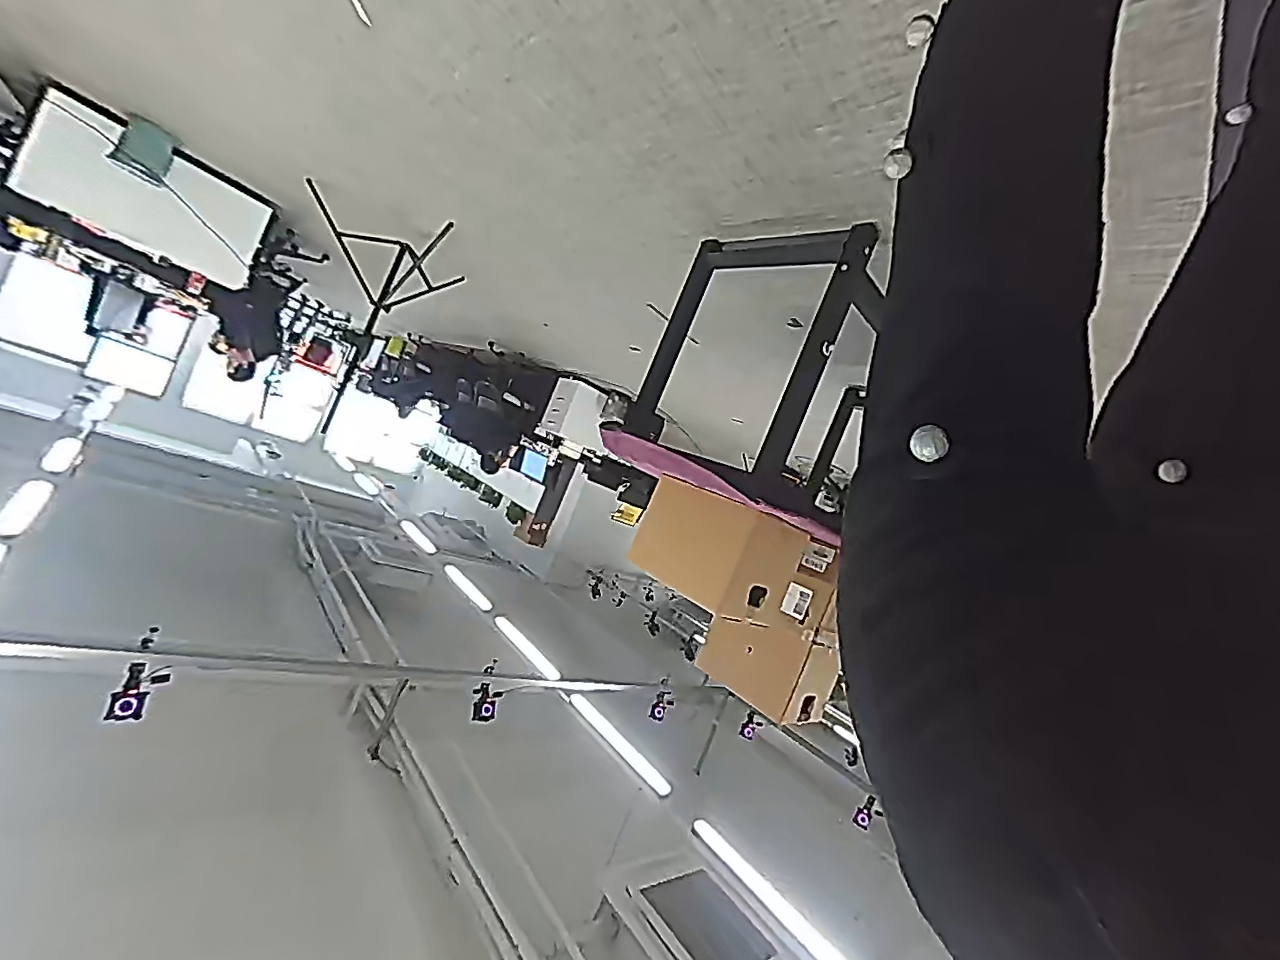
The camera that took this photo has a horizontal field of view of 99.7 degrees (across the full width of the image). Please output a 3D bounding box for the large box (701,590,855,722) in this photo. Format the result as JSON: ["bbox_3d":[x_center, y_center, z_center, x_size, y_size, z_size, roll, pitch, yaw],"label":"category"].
[{"bbox_3d":[0.510,0.645,2.019,0.320,0.320,0.408,21,180,-42],"label":"large box"}]
